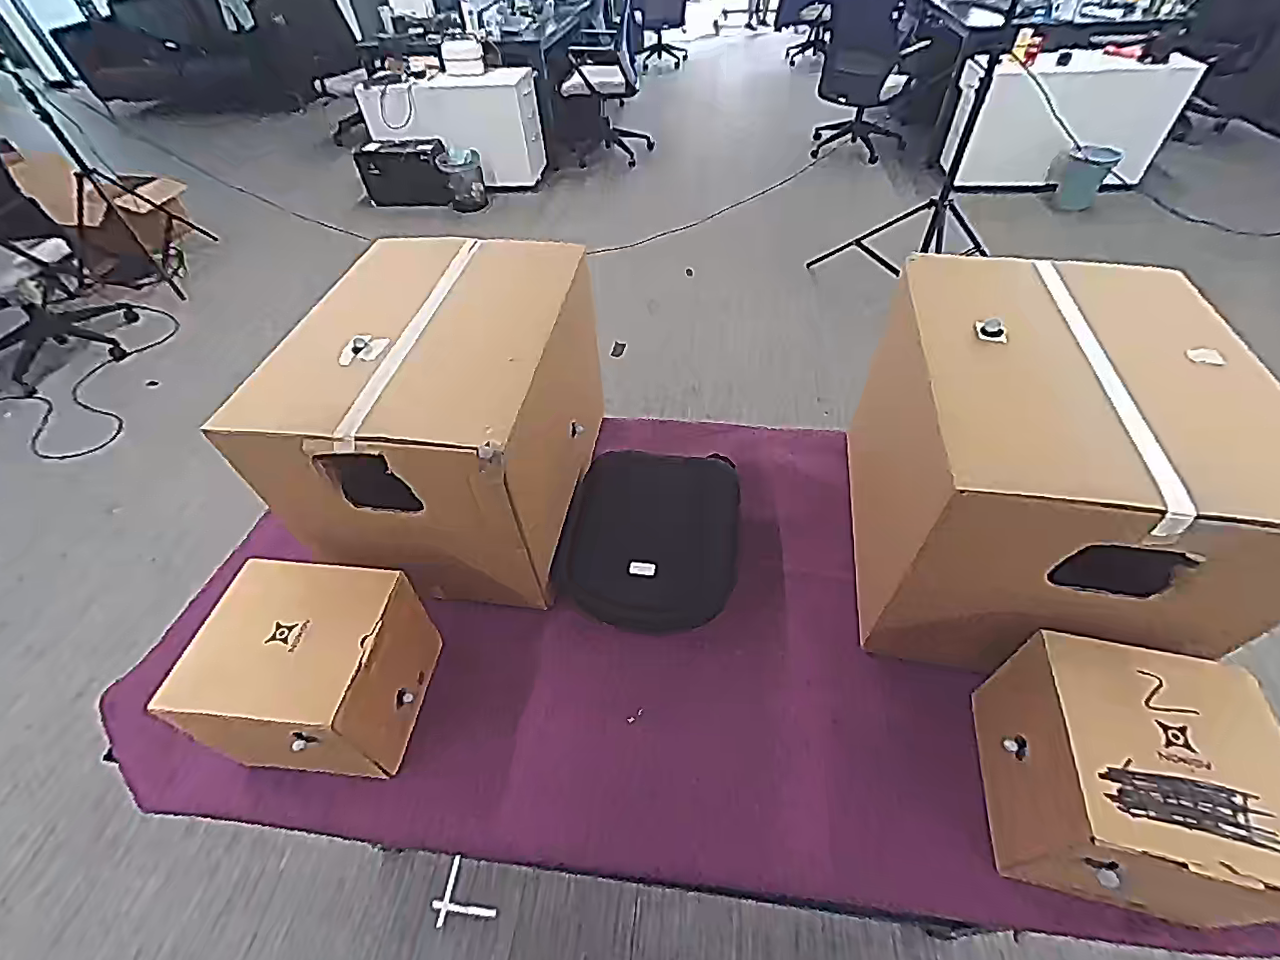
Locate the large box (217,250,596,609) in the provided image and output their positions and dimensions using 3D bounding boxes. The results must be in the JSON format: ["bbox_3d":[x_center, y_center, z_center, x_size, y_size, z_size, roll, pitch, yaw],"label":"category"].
[{"bbox_3d":[-0.252,-0.077,0.767,0.320,0.320,0.408,3,51,7],"label":"large box"}]
